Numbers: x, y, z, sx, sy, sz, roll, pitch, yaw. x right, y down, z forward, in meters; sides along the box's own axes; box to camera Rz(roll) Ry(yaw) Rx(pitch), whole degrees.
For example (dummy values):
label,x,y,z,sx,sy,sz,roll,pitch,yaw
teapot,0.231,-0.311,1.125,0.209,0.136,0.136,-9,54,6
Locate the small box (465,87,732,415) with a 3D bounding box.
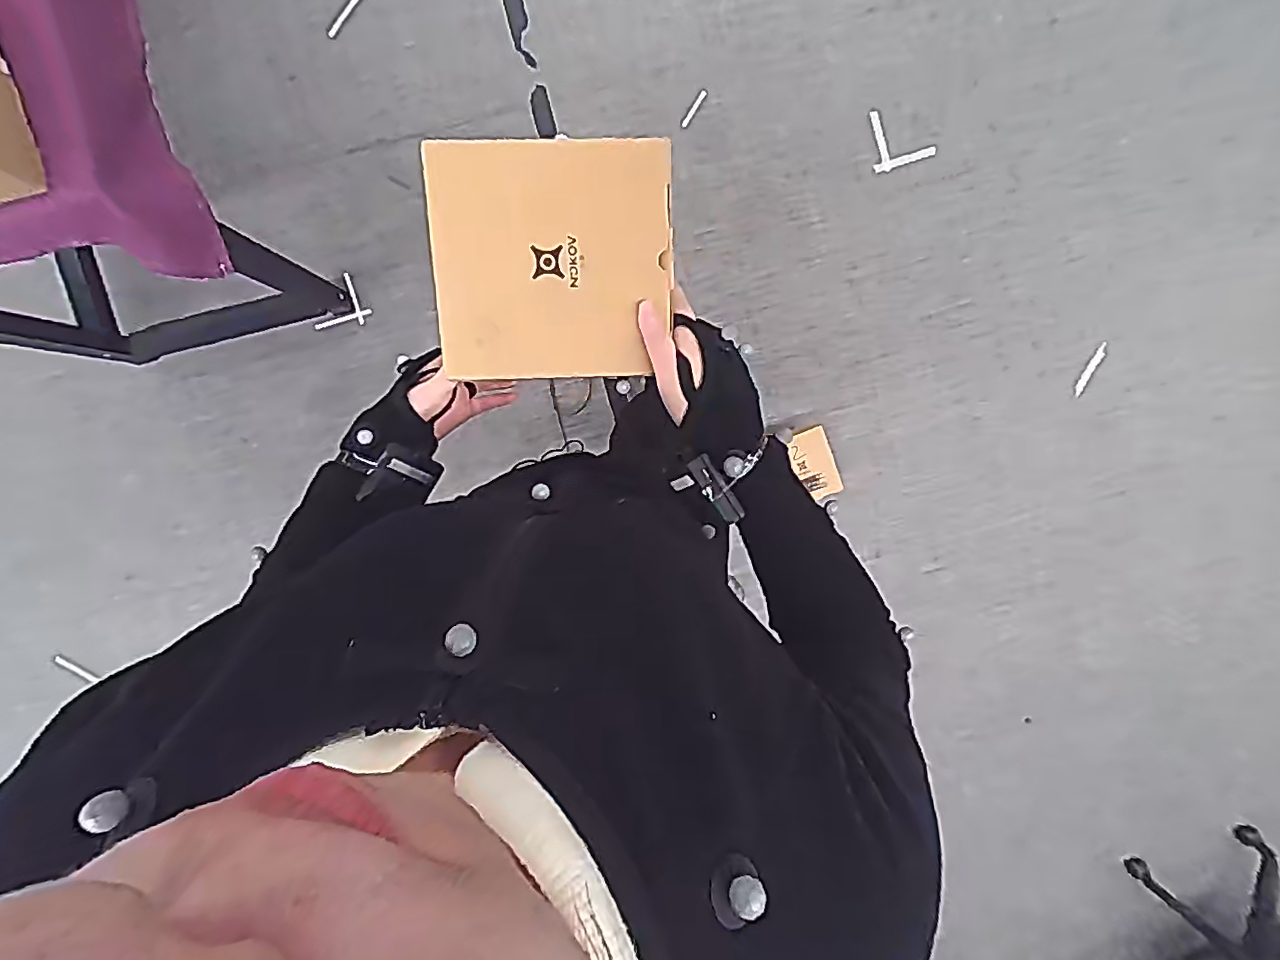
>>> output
label,x,y,z,sx,sy,sz,roll,pitch,yaw
small box,-0.044,-0.163,0.434,0.168,0.176,0.179,-7,84,-21
